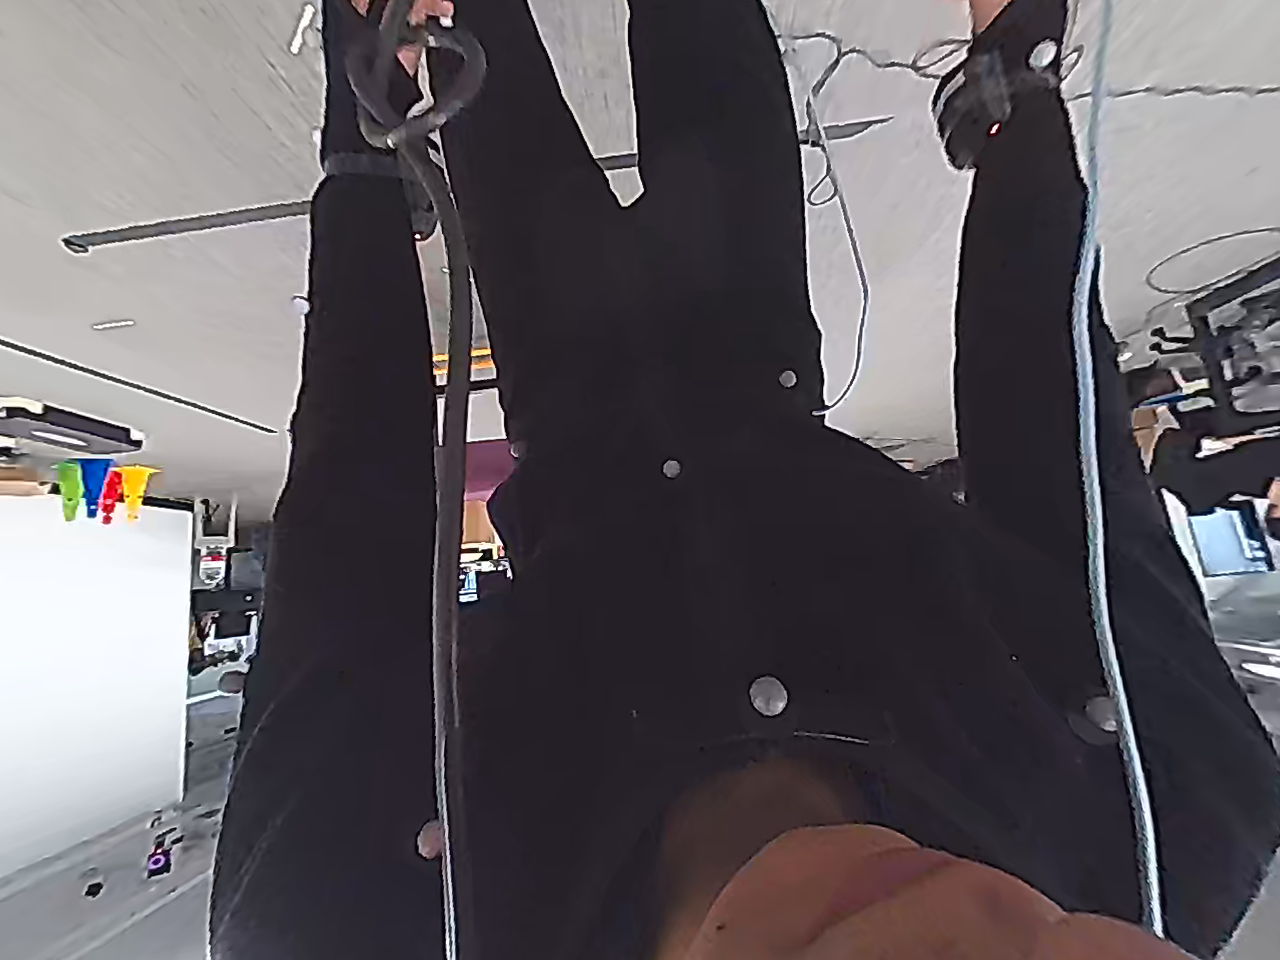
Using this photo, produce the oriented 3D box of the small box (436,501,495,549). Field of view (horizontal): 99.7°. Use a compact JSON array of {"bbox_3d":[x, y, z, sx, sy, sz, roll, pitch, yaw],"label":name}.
[{"bbox_3d":[-0.691,0.180,2.145,0.179,0.176,0.168,-7,170,3],"label":"small box"}]
